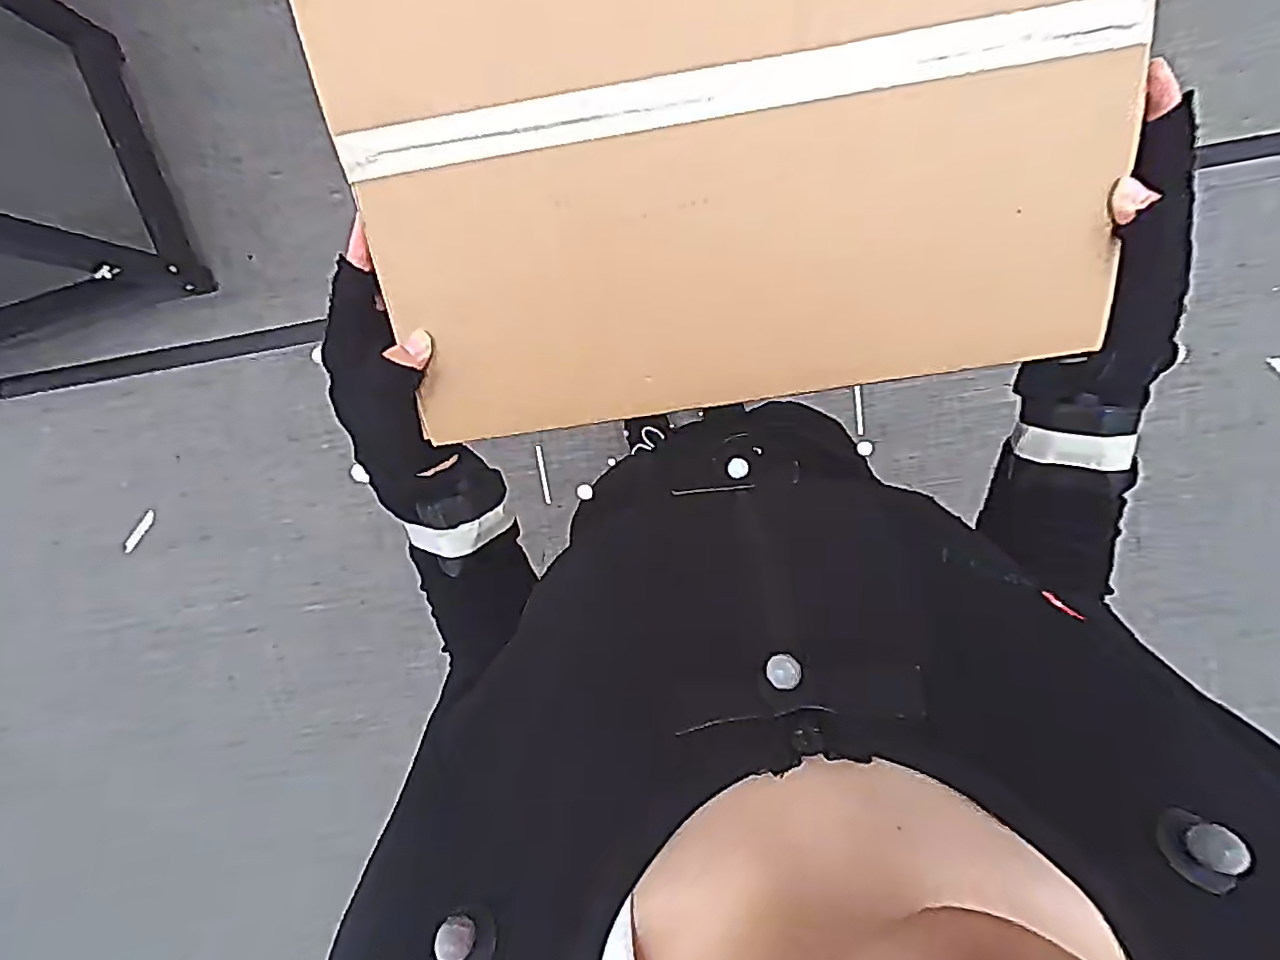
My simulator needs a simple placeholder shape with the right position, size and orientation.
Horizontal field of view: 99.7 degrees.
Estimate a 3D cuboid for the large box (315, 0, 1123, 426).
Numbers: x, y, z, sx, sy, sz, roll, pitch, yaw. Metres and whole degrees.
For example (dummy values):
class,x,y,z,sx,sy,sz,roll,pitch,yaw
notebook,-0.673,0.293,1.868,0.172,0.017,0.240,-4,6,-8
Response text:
class,x,y,z,sx,sy,sz,roll,pitch,yaw
large box,0.042,-0.256,0.421,0.408,0.320,0.320,-8,112,2
